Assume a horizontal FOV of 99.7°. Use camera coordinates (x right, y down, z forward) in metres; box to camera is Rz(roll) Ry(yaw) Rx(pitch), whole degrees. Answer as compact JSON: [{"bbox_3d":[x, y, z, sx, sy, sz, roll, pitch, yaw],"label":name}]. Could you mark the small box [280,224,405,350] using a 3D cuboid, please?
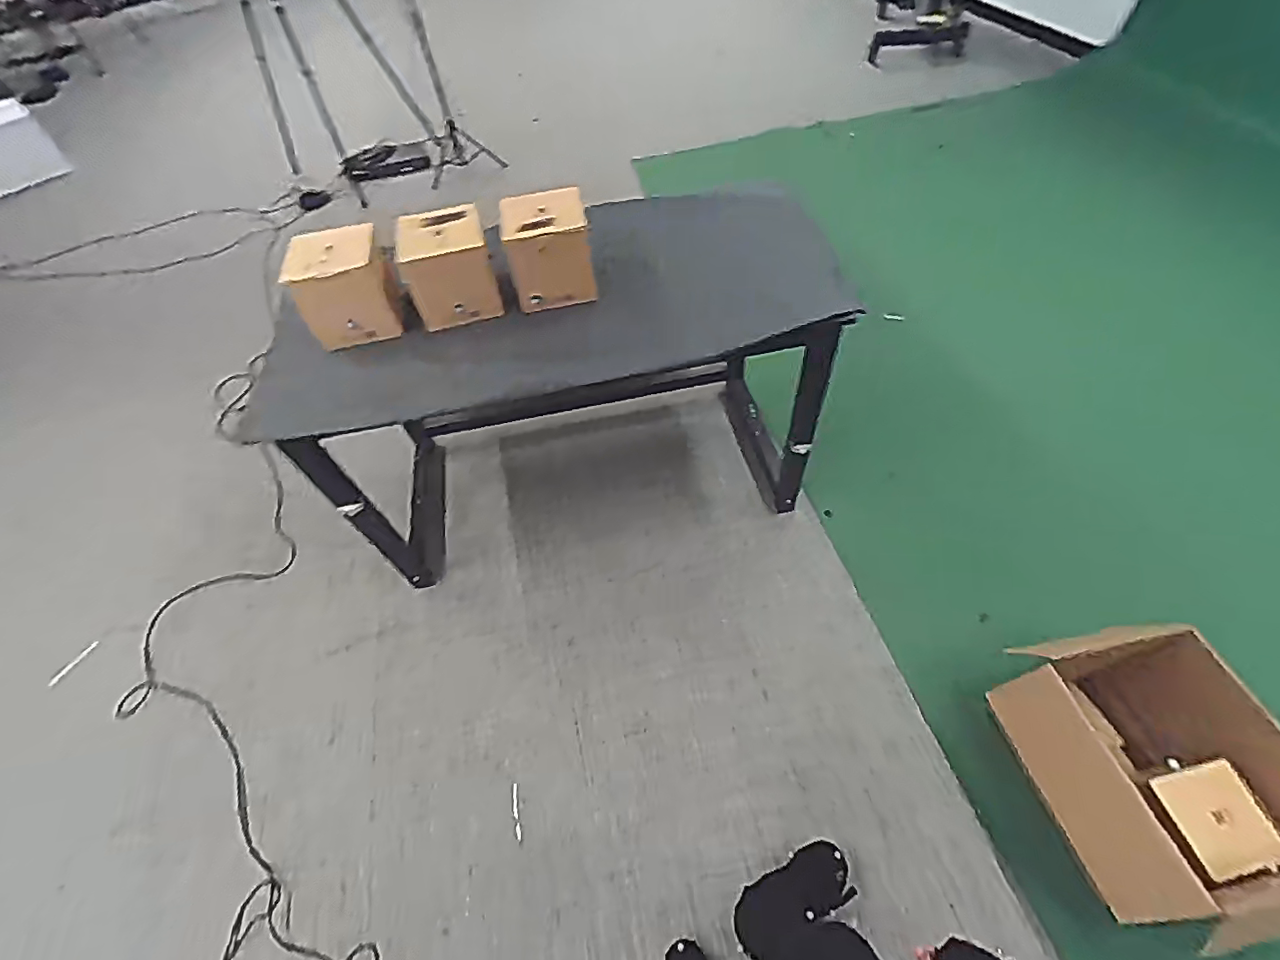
[{"bbox_3d":[-0.610,-0.402,1.134,0.168,0.176,0.179,-13,54,-4],"label":"small box"}]
